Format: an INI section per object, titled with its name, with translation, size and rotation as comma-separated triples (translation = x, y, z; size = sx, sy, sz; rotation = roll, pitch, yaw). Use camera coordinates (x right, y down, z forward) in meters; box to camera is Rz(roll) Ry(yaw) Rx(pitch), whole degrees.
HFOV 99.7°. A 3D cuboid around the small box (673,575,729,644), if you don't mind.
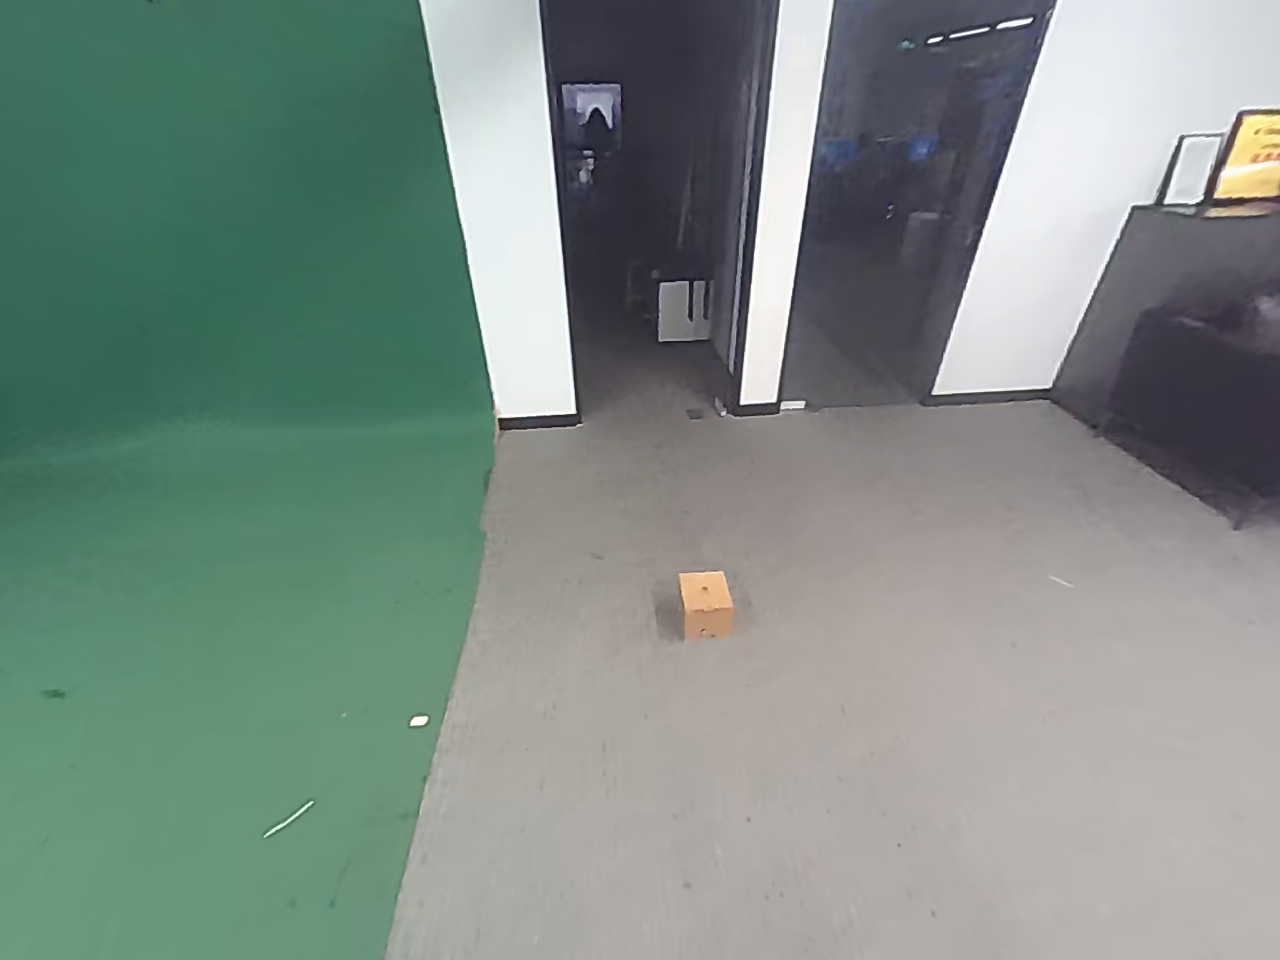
[small box]
translation = 0.212, 0.463, 1.934
size = 0.168, 0.176, 0.179
rotation = -3, 35, -4
